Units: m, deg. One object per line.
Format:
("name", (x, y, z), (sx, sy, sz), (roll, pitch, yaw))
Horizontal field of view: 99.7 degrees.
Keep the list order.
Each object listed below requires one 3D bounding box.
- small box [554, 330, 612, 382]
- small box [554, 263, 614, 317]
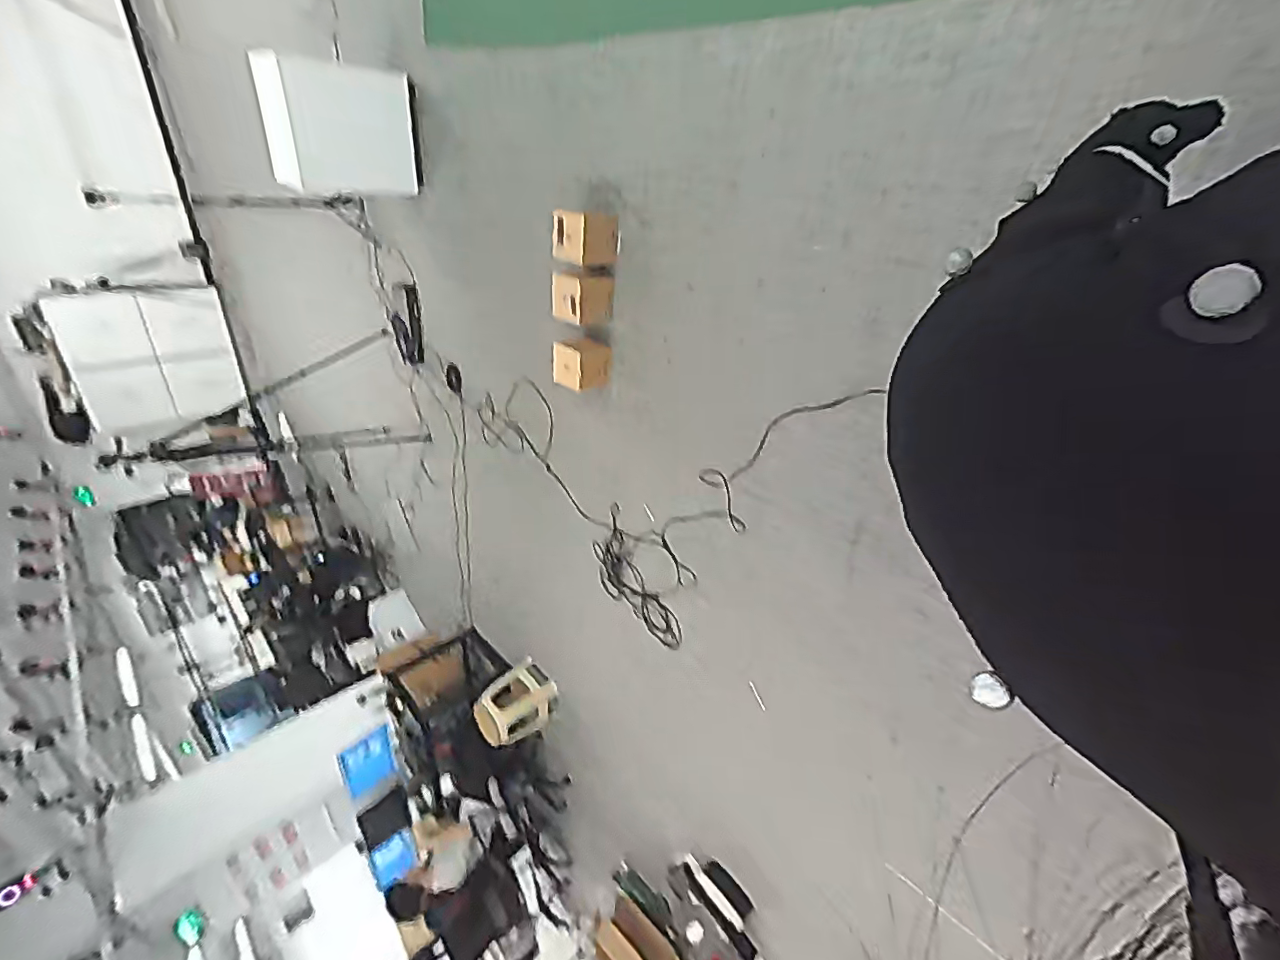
("small box", (-0.238, -0.523, 2.255), (0.179, 0.176, 0.168), (31, 129, 36))
("small box", (-0.220, -0.753, 2.122), (0.179, 0.176, 0.168), (31, 129, 37))
